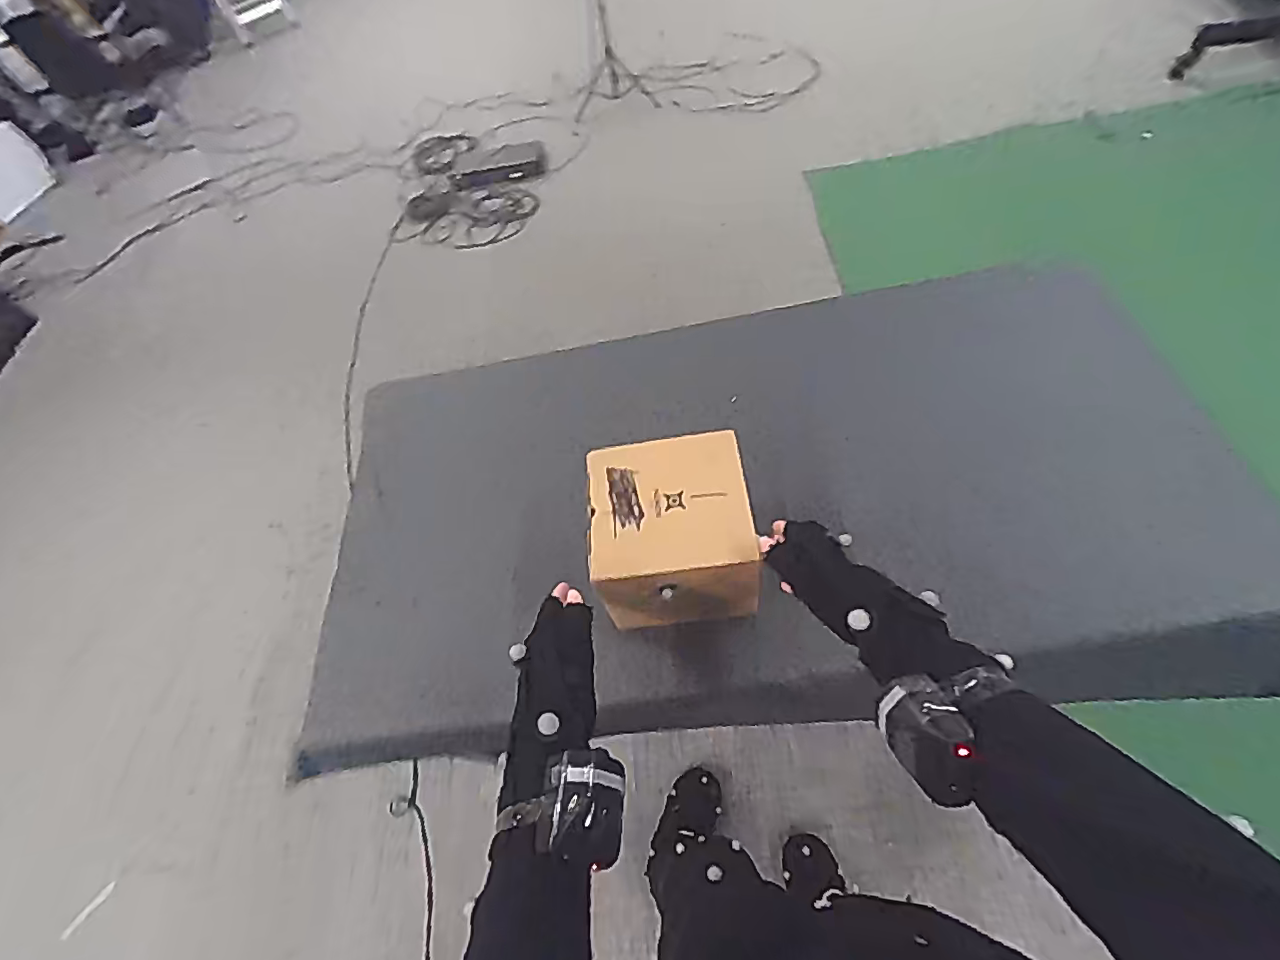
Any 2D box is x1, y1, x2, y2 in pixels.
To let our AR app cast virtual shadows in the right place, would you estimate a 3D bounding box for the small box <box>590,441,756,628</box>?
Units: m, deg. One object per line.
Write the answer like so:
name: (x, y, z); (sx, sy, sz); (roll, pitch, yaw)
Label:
small box: (0.043, 0.076, 0.671); (0.179, 0.176, 0.168); (-8, 58, 5)
